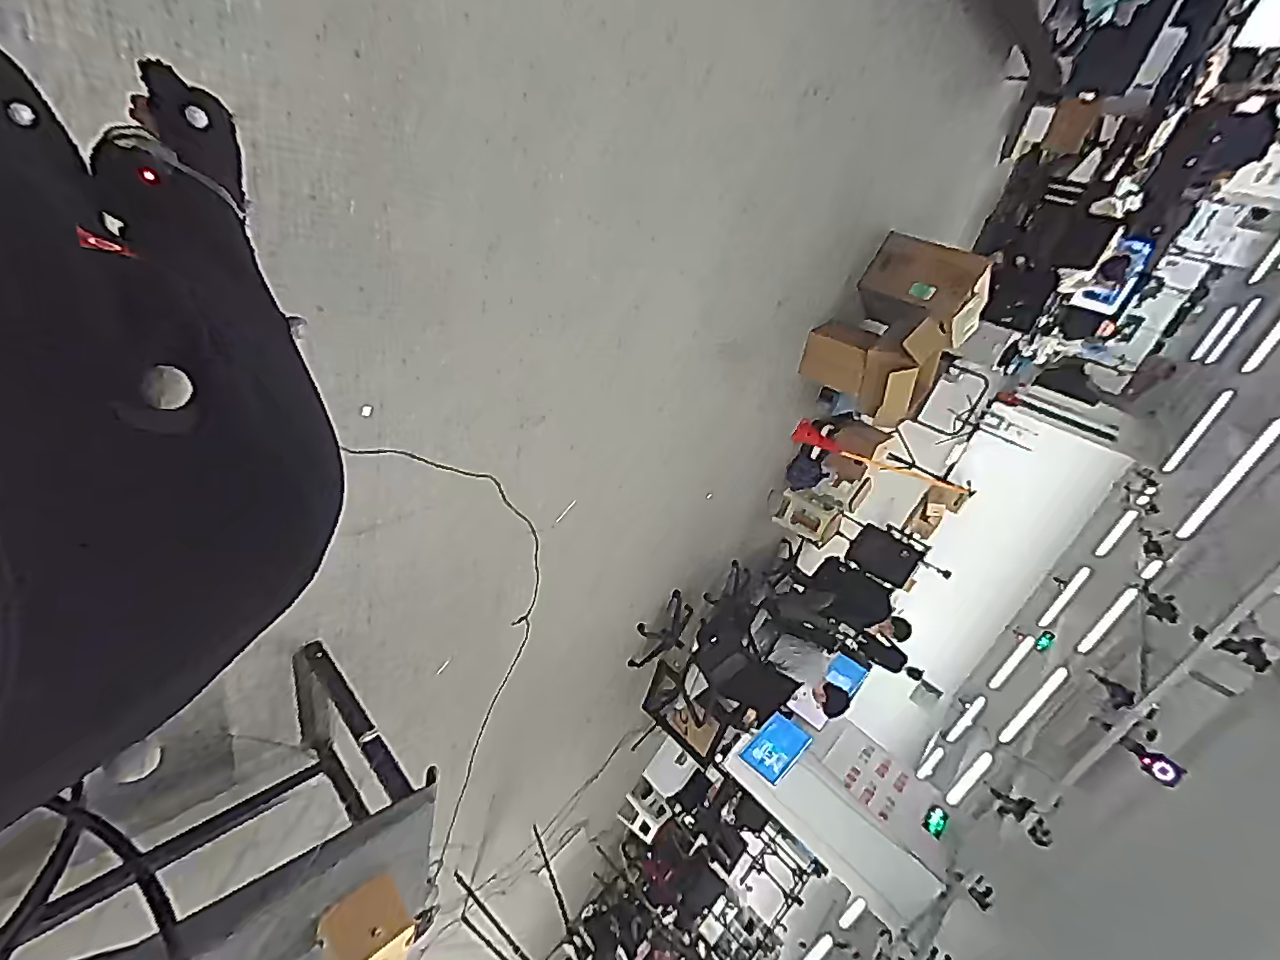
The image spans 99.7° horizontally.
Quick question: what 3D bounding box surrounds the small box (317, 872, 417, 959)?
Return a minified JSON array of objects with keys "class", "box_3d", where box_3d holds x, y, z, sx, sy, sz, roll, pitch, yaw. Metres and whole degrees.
[{"class":"small box","box_3d":[-0.713,1.183,1.409,0.179,0.176,0.168,-12,127,-47]}]
